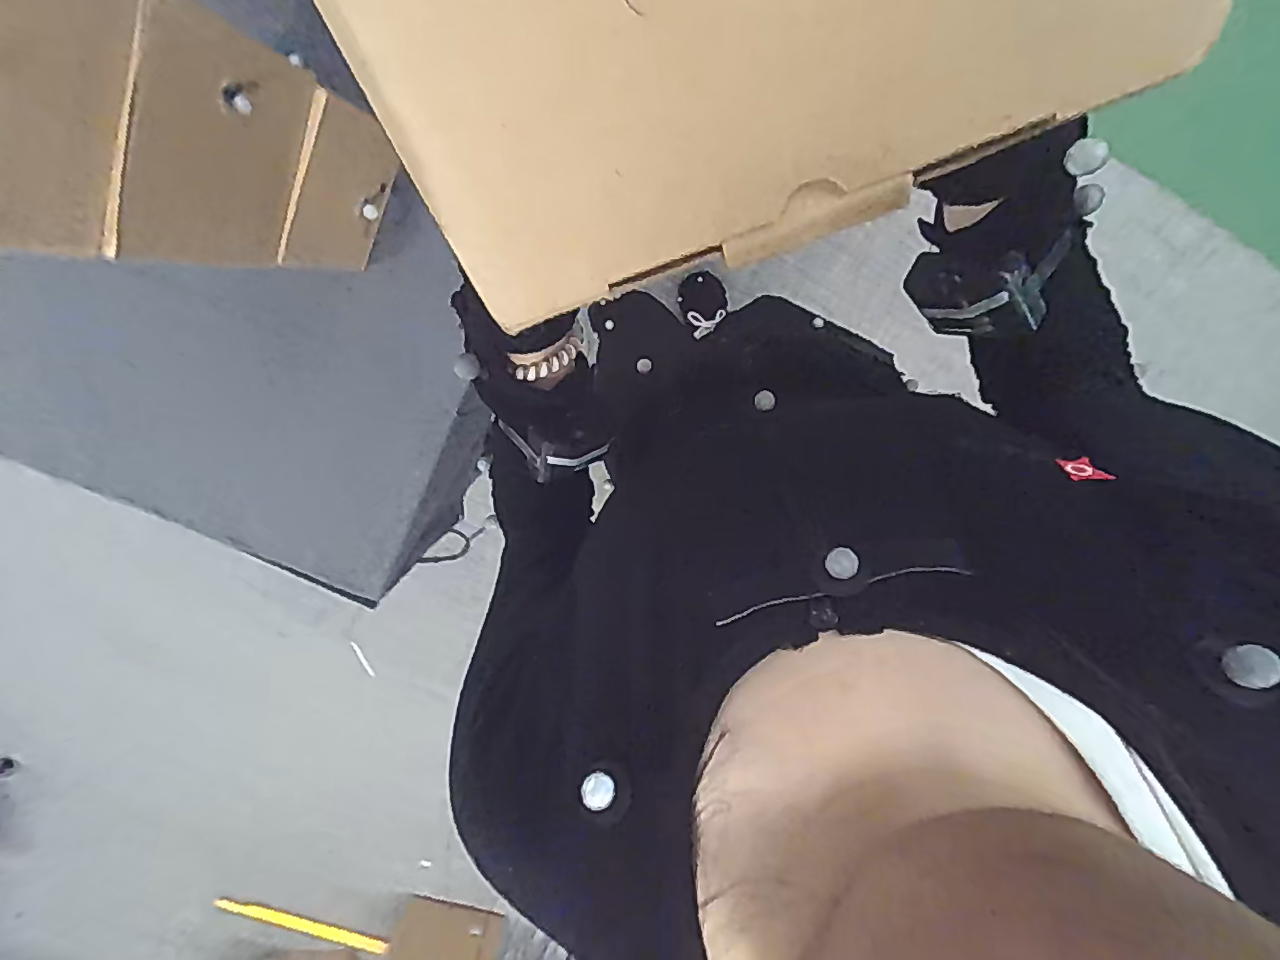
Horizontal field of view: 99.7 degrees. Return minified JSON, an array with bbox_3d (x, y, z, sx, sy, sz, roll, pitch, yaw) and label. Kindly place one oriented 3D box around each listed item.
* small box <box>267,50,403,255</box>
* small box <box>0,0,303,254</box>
[{"bbox_3d":[-0.388,-0.352,0.566,0.179,0.176,0.168,27,109,-8],"label":"small box"},{"bbox_3d":[-0.398,-0.295,0.413,0.168,0.176,0.179,25,109,-6],"label":"small box"}]
